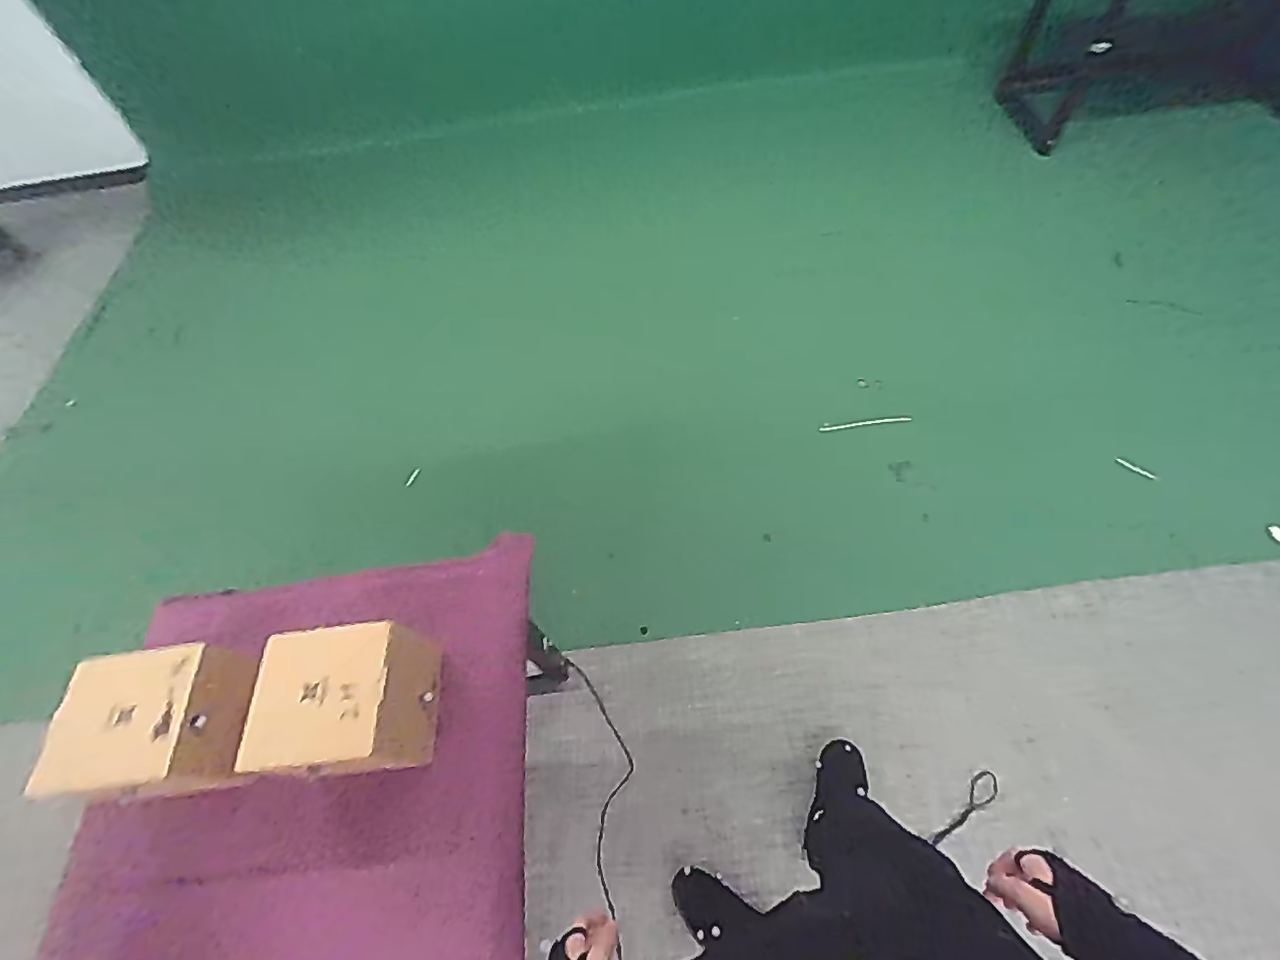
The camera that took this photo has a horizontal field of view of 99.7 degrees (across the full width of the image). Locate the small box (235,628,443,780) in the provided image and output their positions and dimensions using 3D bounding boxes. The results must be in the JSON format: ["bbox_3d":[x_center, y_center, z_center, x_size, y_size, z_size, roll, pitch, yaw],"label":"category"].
[{"bbox_3d":[-0.403,0.319,0.759,0.179,0.176,0.168,-7,59,3],"label":"small box"}]

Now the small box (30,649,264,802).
[{"bbox_3d":[-0.662,0.354,0.769,0.179,0.176,0.168,-8,59,1],"label":"small box"}]
